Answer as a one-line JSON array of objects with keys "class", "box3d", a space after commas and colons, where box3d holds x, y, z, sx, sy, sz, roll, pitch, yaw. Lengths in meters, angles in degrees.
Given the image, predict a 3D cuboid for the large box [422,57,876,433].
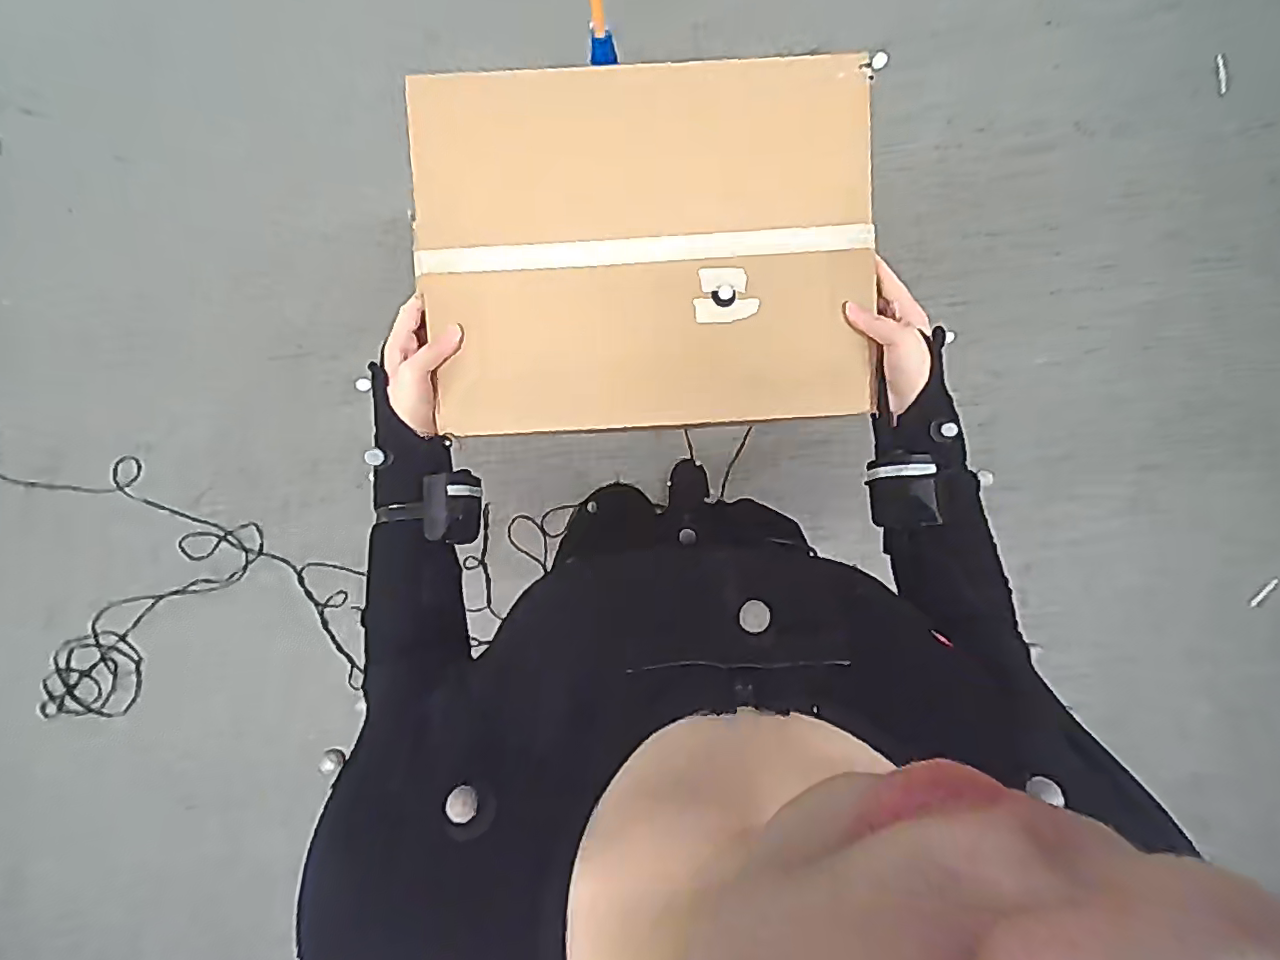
[{"class": "large box", "box3d": [0.008, -0.224, 0.639, 0.408, 0.320, 0.320, -3, 95, -2]}]
